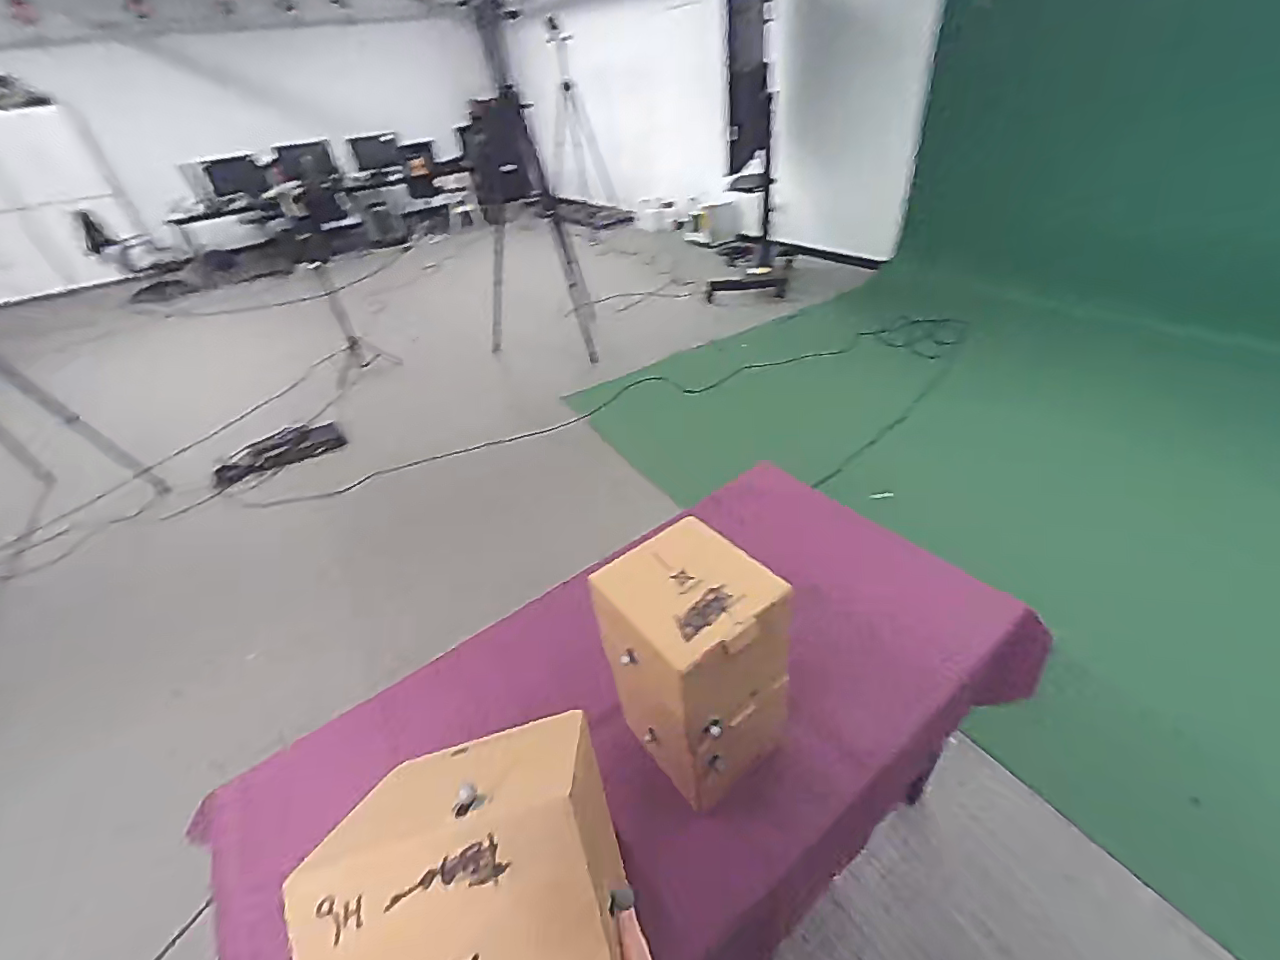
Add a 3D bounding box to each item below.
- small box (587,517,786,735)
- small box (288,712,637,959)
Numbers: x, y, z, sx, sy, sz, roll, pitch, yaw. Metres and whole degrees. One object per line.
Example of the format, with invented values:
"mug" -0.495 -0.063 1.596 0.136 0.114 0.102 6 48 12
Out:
"small box" 0.060 0.182 0.671 0.168 0.176 0.179 -28 40 -26
"small box" -0.098 0.292 0.374 0.168 0.179 0.176 -15 -6 -6
